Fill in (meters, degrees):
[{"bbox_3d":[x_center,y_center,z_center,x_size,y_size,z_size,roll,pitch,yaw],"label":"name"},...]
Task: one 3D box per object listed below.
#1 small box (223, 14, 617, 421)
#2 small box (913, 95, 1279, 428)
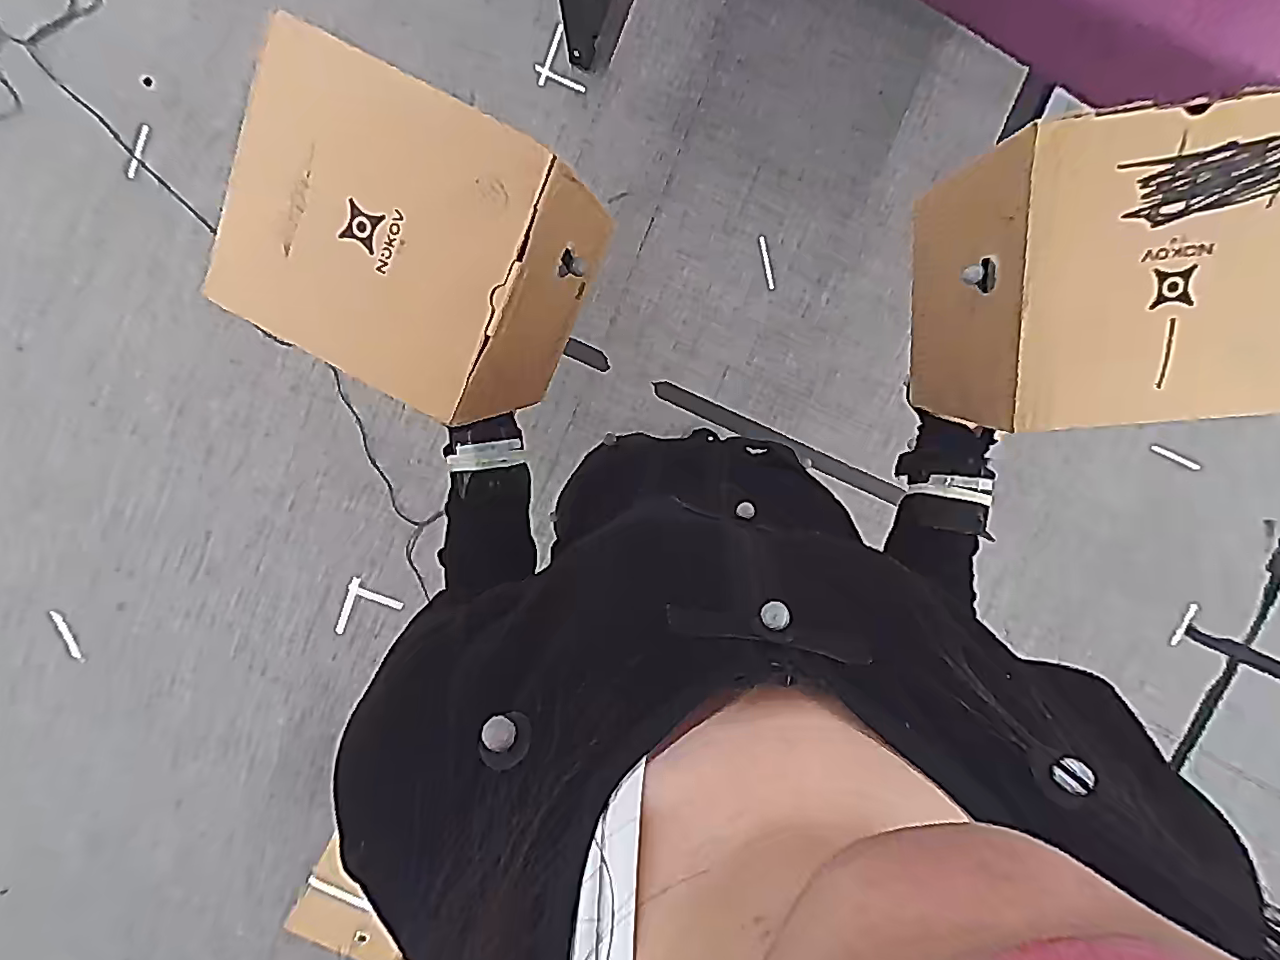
[{"bbox_3d":[-0.134,-0.161,0.386,0.179,0.176,0.168,27,105,2],"label":"small box"},{"bbox_3d":[0.315,-0.139,0.390,0.168,0.176,0.179,-3,104,6],"label":"small box"}]
